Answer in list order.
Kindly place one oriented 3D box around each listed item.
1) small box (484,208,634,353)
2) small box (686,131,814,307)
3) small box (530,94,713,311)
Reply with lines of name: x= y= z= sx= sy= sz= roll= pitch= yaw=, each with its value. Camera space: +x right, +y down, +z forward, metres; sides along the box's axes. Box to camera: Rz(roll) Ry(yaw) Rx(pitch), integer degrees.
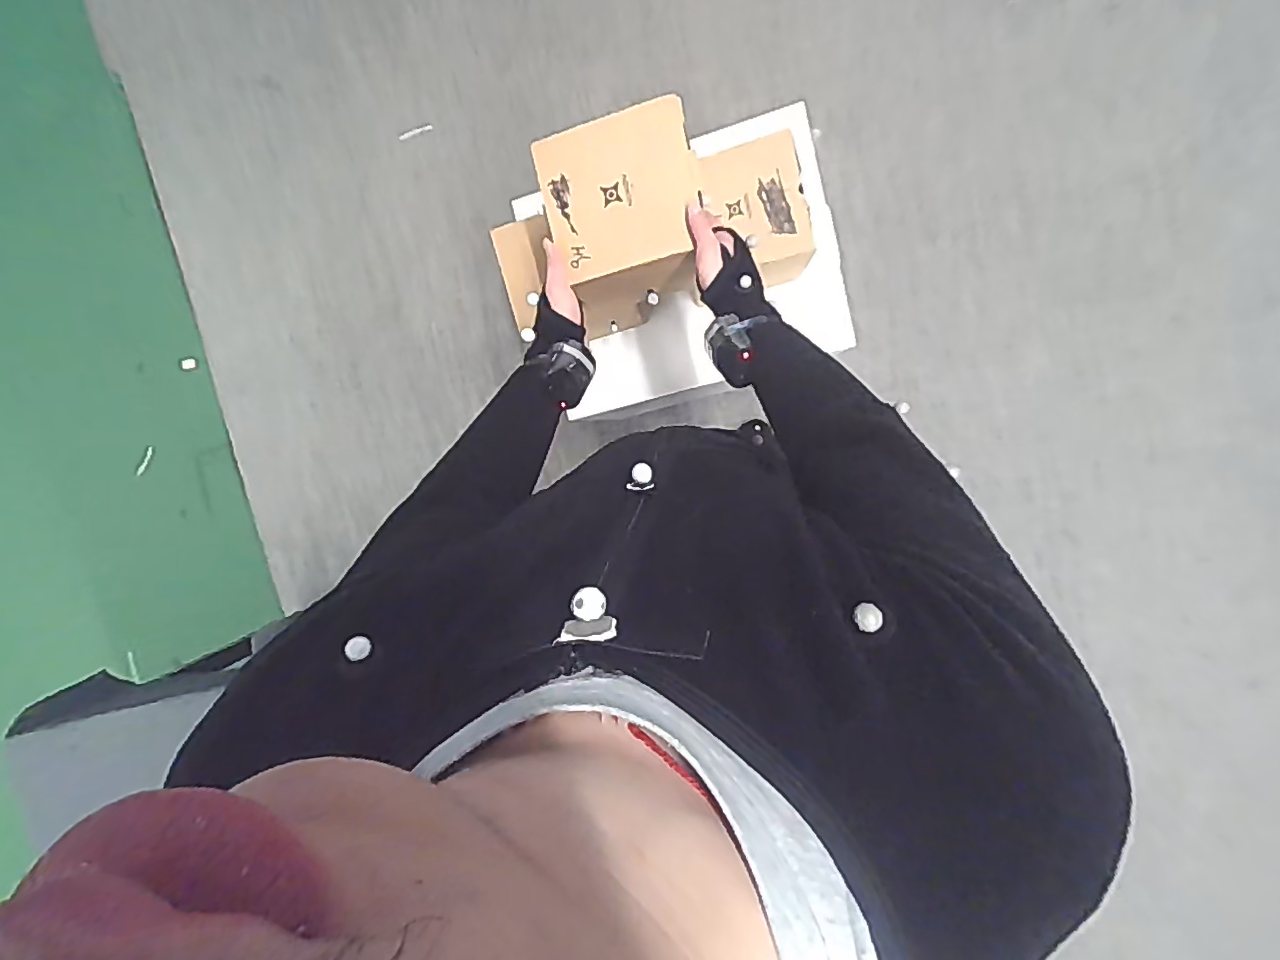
small box: x=-0.113 y=-0.310 z=0.848 sx=0.179 sy=0.176 sz=0.168 roll=-16 pitch=93 yaw=8
small box: x=0.142 y=-0.375 z=0.811 sx=0.179 sy=0.176 sz=0.168 roll=-13 pitch=94 yaw=9
small box: x=-0.014 y=-0.324 z=0.670 sx=0.179 sy=0.176 sz=0.168 roll=-12 pitch=94 yaw=7
